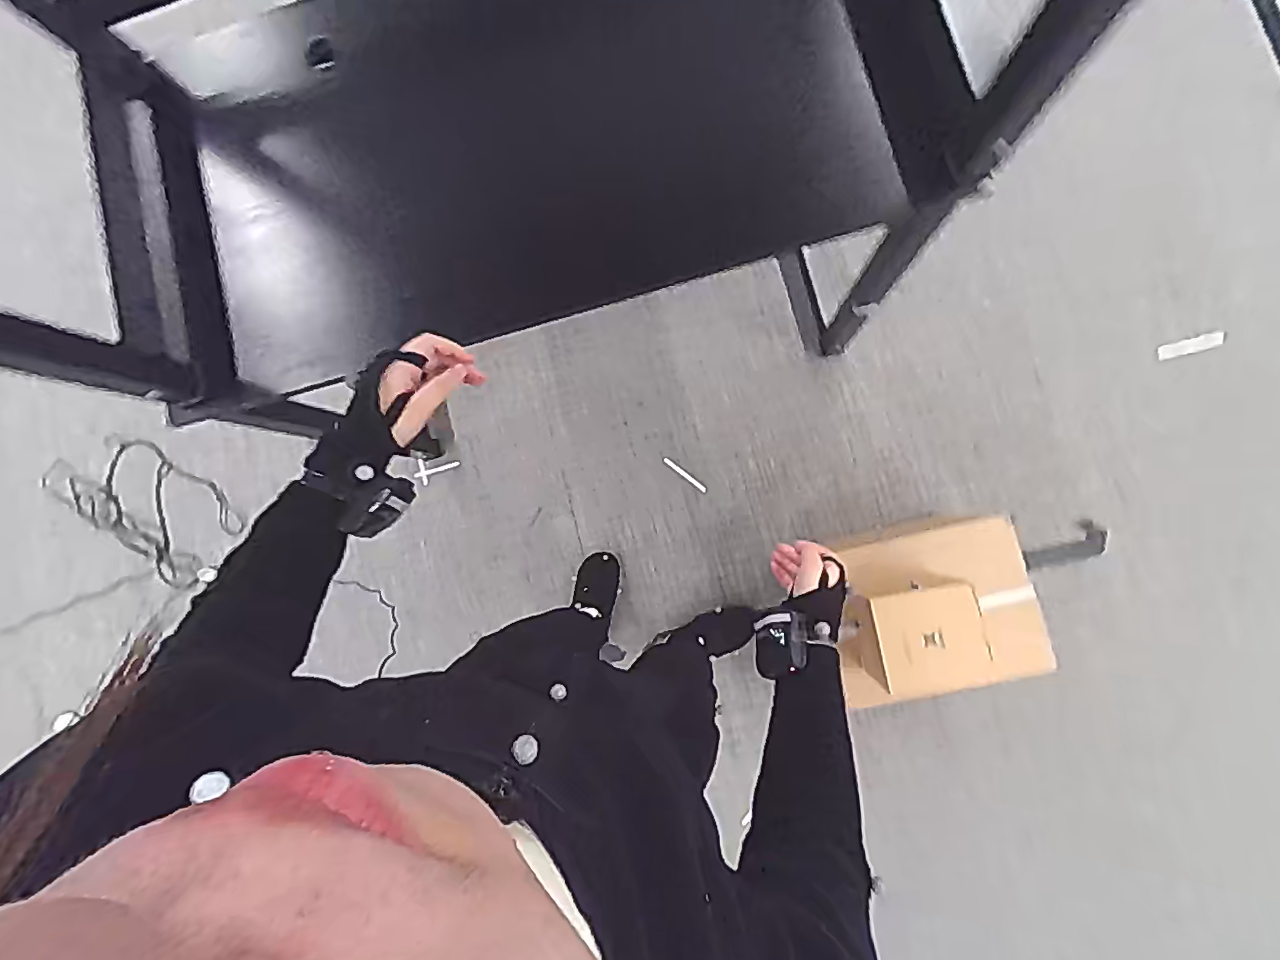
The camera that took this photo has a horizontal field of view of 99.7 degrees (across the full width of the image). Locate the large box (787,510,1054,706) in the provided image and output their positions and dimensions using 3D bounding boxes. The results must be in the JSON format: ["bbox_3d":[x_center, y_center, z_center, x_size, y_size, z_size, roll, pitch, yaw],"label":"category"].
[{"bbox_3d":[0.588,0.266,1.219,0.408,0.320,0.320,-14,86,5],"label":"large box"}]

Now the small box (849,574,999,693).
[{"bbox_3d":[0.502,0.269,0.981,0.179,0.176,0.168,-10,84,6],"label":"small box"}]
